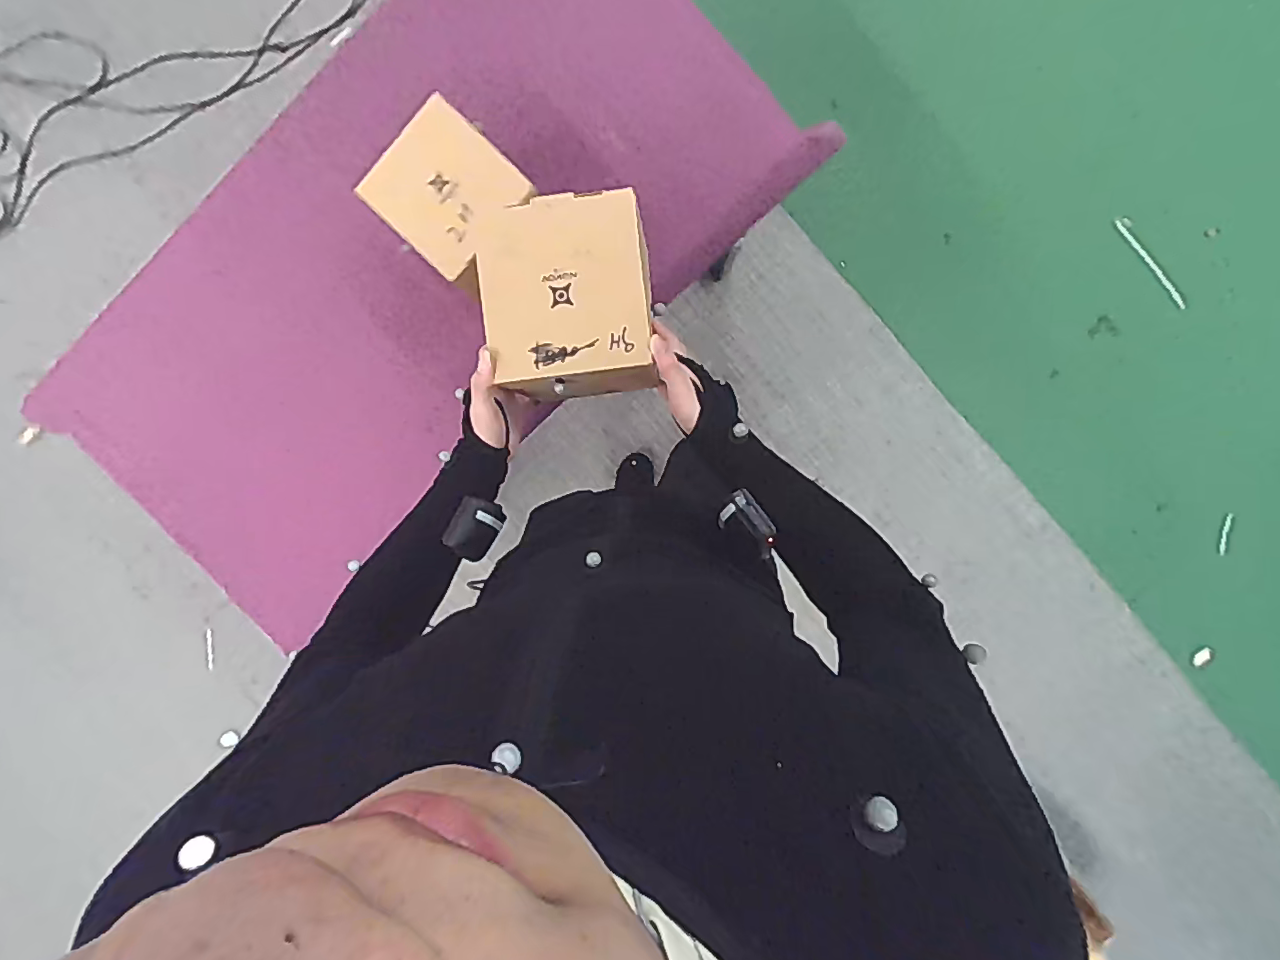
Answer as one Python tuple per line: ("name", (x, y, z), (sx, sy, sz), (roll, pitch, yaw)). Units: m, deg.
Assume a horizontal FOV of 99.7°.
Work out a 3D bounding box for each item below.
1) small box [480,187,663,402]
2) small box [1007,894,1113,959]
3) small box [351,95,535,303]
("small box", (-0.064, -0.191, 0.606), (0.168, 0.176, 0.179), (-6, 91, 5))
("small box", (1.113, 1.239, 1.400), (0.168, 0.176, 0.179), (-37, 94, 5))
("small box", (-0.256, -0.380, 0.773), (0.179, 0.176, 0.168), (43, 96, -3))
